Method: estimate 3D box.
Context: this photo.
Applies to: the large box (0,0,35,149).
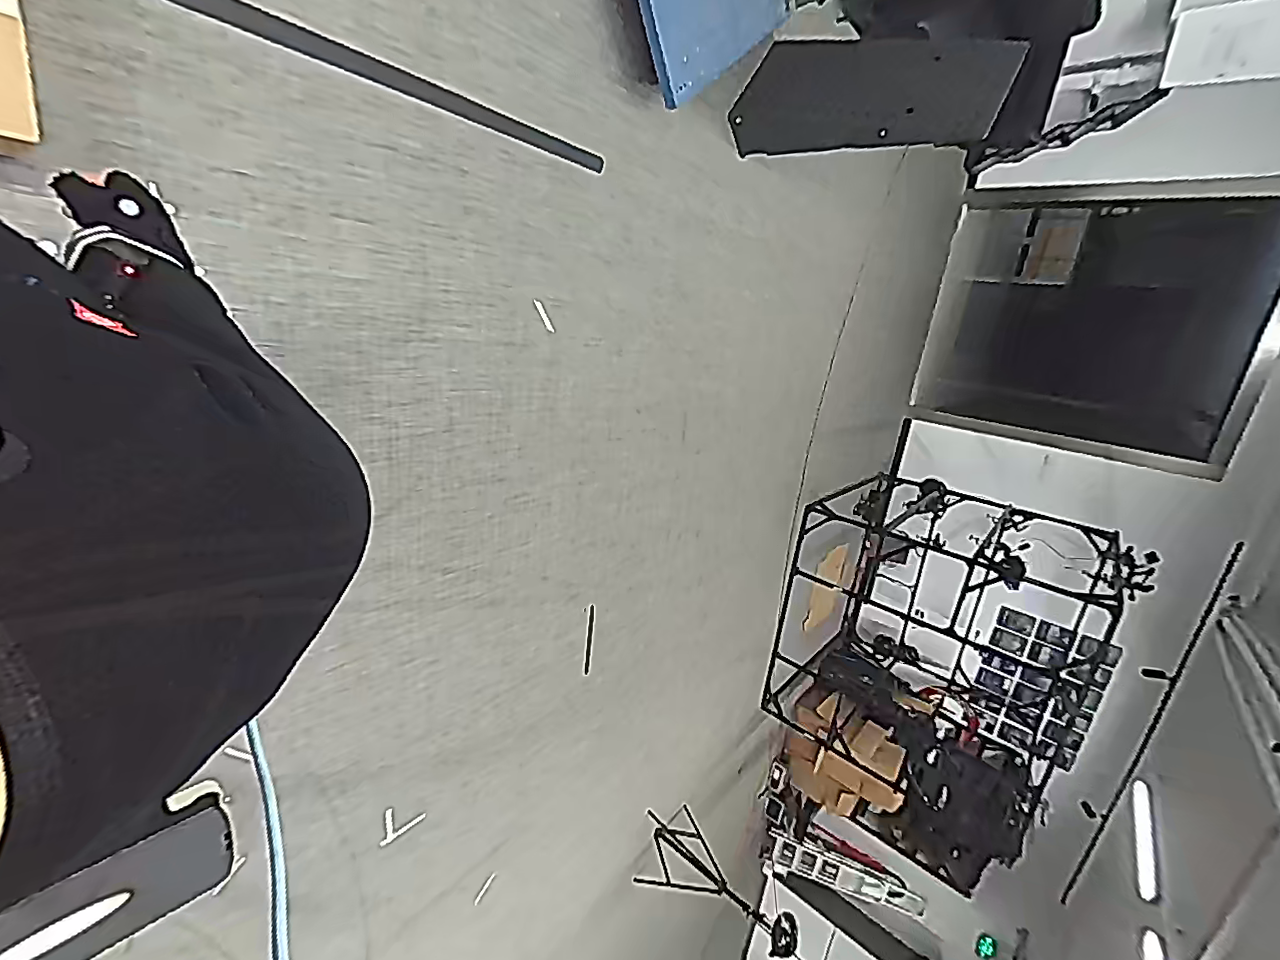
[{"bbox_3d":[-1.063,-0.635,0.642,0.408,0.320,0.320,-13,117,-51],"label":"large box"}]
